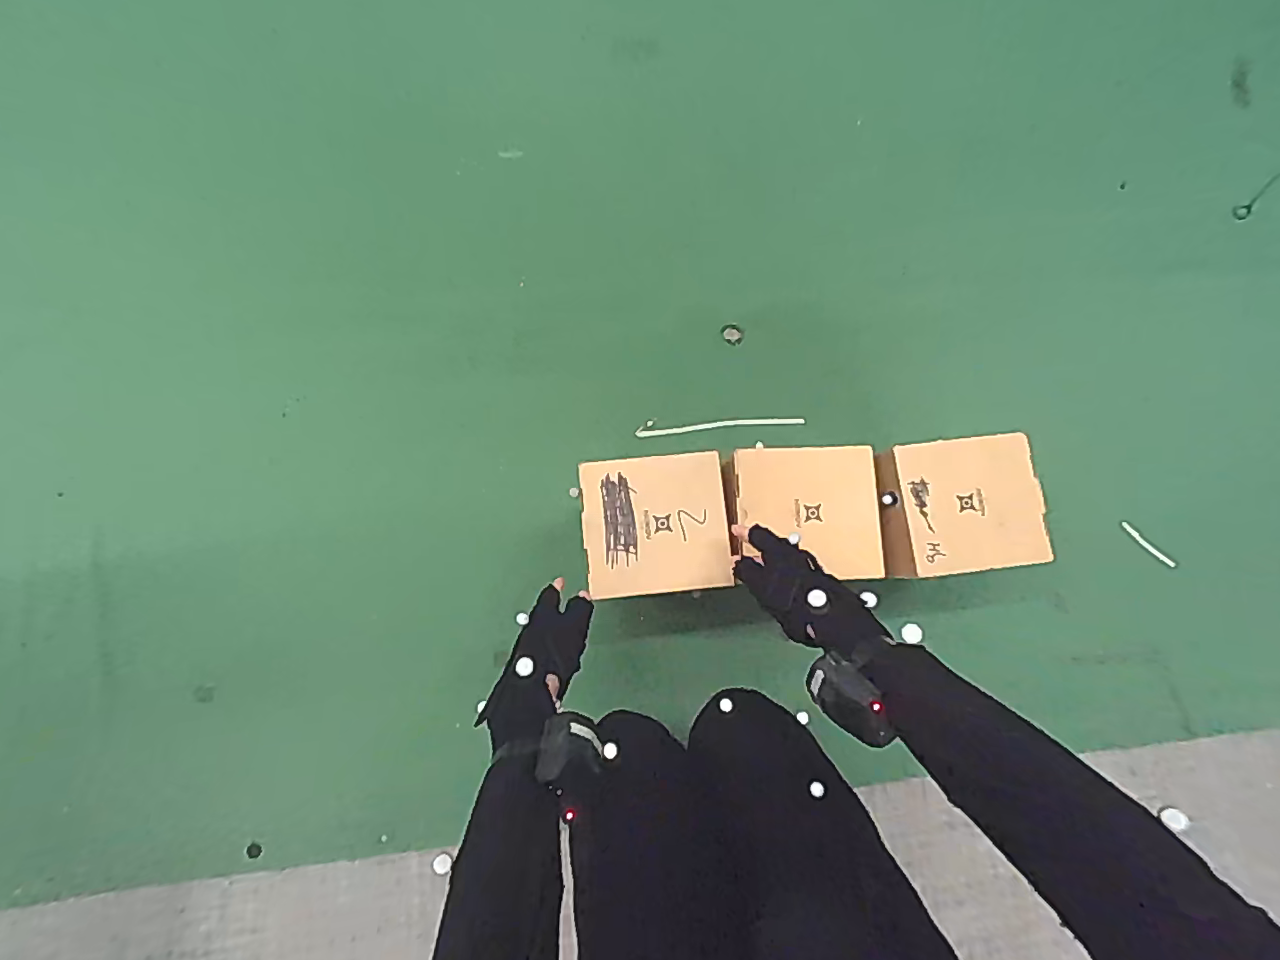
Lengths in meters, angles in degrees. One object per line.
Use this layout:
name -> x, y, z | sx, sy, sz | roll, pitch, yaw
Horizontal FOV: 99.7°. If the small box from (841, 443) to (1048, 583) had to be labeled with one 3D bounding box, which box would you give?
small box -> 0.406, 0.050, 0.749 | 0.179, 0.176, 0.168 | -5, 81, -2
